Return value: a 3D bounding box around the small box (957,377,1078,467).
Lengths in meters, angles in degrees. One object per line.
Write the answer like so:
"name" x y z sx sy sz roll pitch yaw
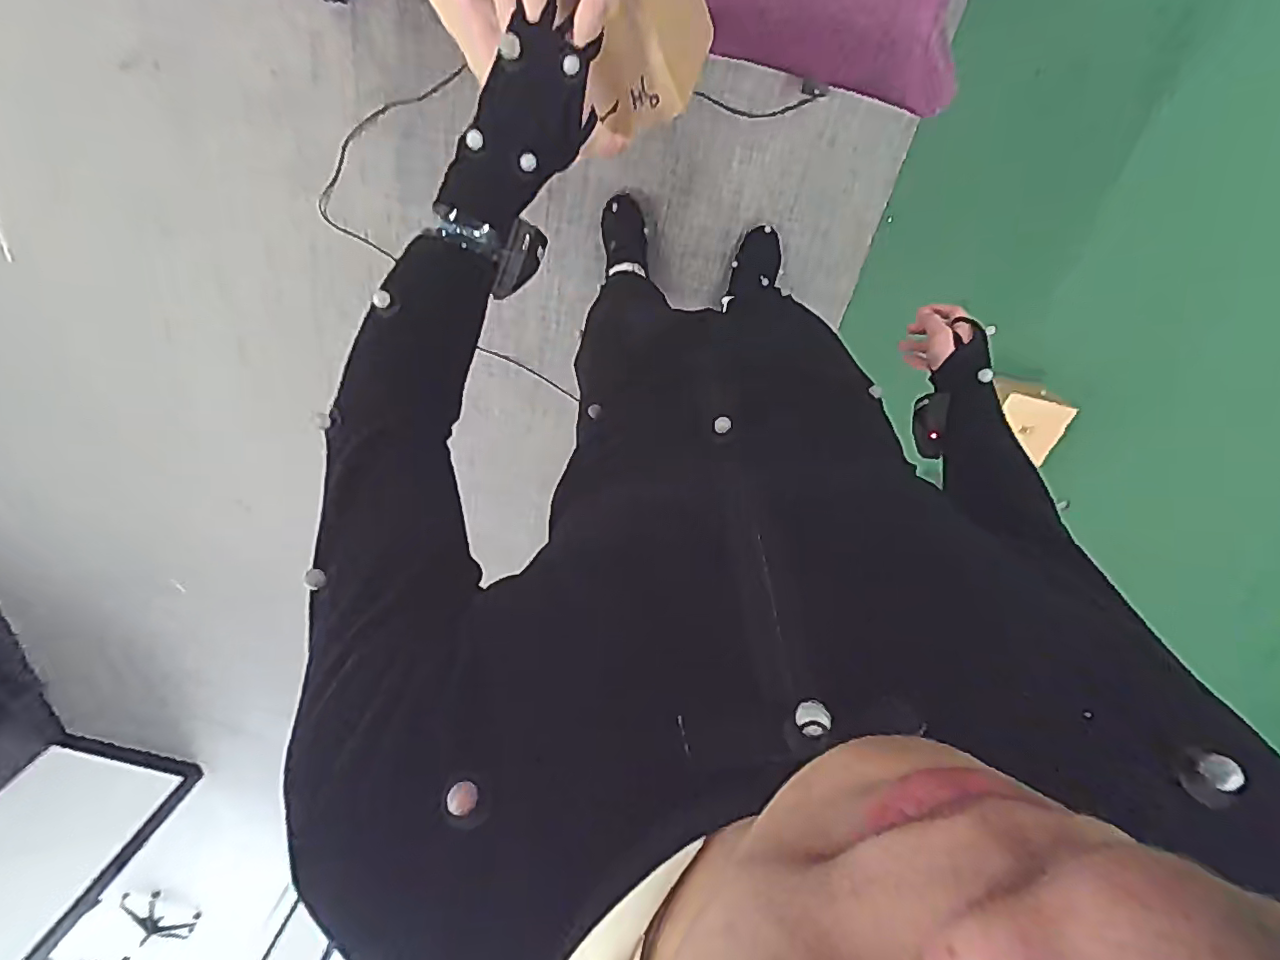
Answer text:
"small box" 0.986 -0.160 1.434 0.179 0.176 0.168 14 120 0

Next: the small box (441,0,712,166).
"small box" -0.049 -0.429 0.479 0.168 0.176 0.179 -2 145 29
